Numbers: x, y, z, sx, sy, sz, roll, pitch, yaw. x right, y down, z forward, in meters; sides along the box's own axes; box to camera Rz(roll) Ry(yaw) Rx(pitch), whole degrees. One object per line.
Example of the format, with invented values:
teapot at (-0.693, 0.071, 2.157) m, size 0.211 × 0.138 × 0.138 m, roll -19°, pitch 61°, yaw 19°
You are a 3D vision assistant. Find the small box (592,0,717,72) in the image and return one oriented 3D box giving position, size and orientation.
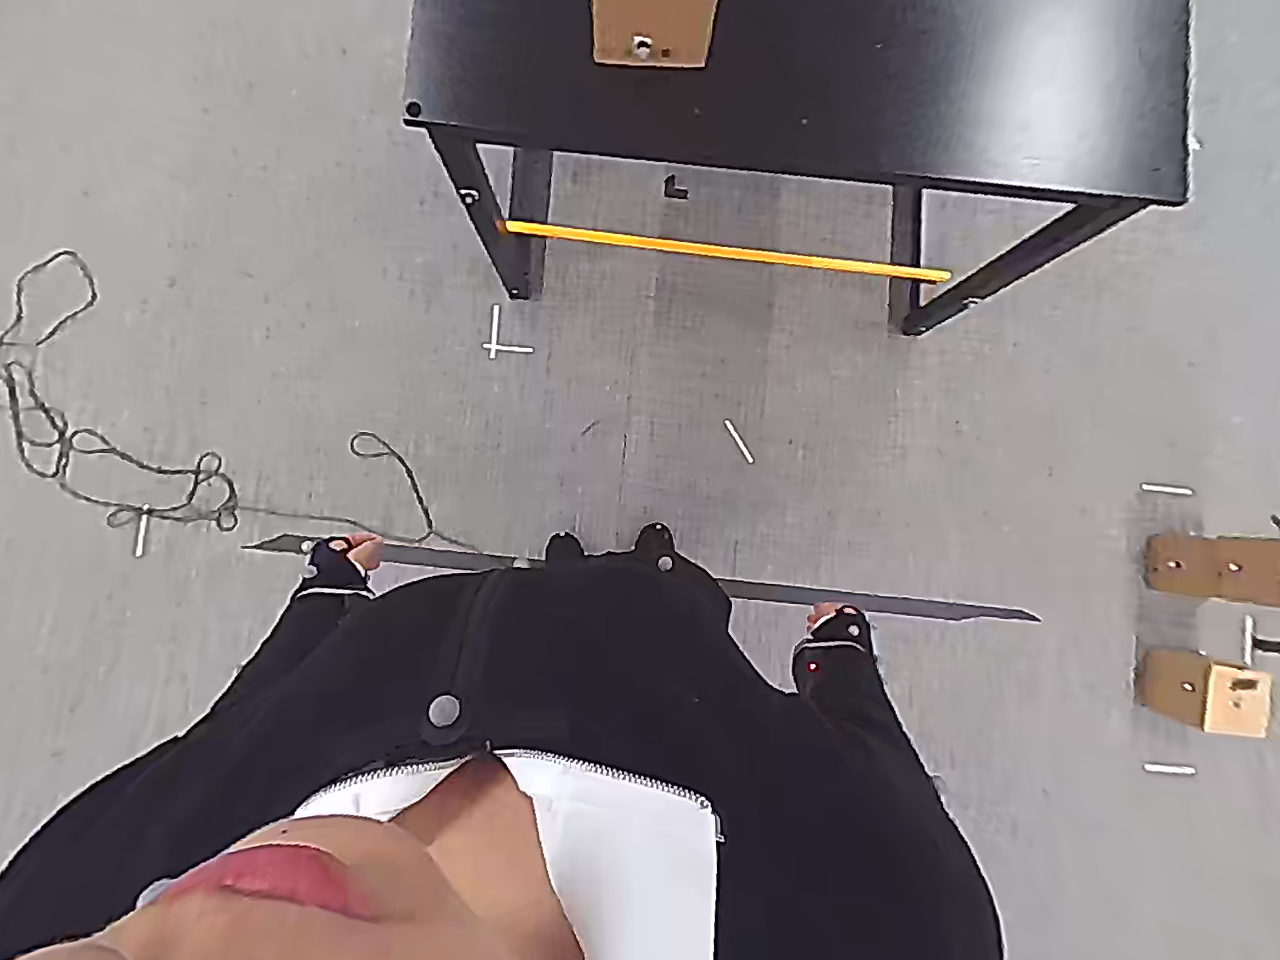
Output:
small box at (0.017, -0.711, 0.740) m, size 0.168 × 0.176 × 0.179 m, roll -1°, pitch 88°, yaw -2°

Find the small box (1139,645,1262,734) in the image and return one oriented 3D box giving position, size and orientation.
small box at (1.531, 0.567, 1.487) m, size 0.168 × 0.176 × 0.179 m, roll 8°, pitch 88°, yaw -2°

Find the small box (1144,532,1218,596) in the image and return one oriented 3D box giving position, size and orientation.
small box at (1.559, 0.234, 1.501) m, size 0.179 × 0.176 × 0.168 m, roll 4°, pitch 87°, yaw -2°

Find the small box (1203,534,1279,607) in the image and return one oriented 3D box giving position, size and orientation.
small box at (1.570, 0.228, 1.336) m, size 0.179 × 0.176 × 0.168 m, roll 10°, pitch 86°, yaw -2°
